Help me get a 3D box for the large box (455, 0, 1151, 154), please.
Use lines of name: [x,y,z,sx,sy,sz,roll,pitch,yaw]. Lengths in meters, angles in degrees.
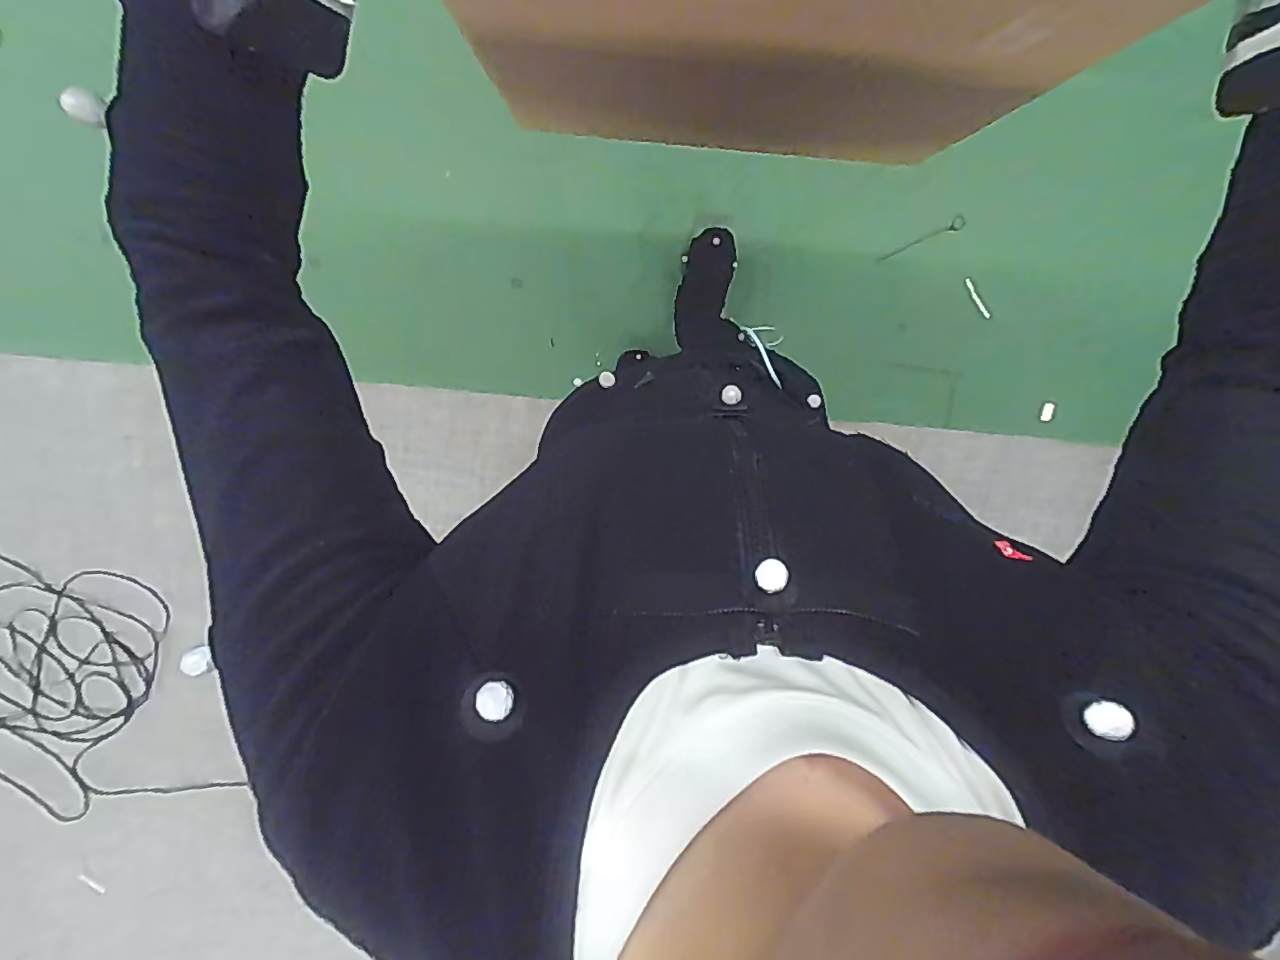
large box: [0.089,-0.441,0.359,0.408,0.320,0.320,3,107,-1]
